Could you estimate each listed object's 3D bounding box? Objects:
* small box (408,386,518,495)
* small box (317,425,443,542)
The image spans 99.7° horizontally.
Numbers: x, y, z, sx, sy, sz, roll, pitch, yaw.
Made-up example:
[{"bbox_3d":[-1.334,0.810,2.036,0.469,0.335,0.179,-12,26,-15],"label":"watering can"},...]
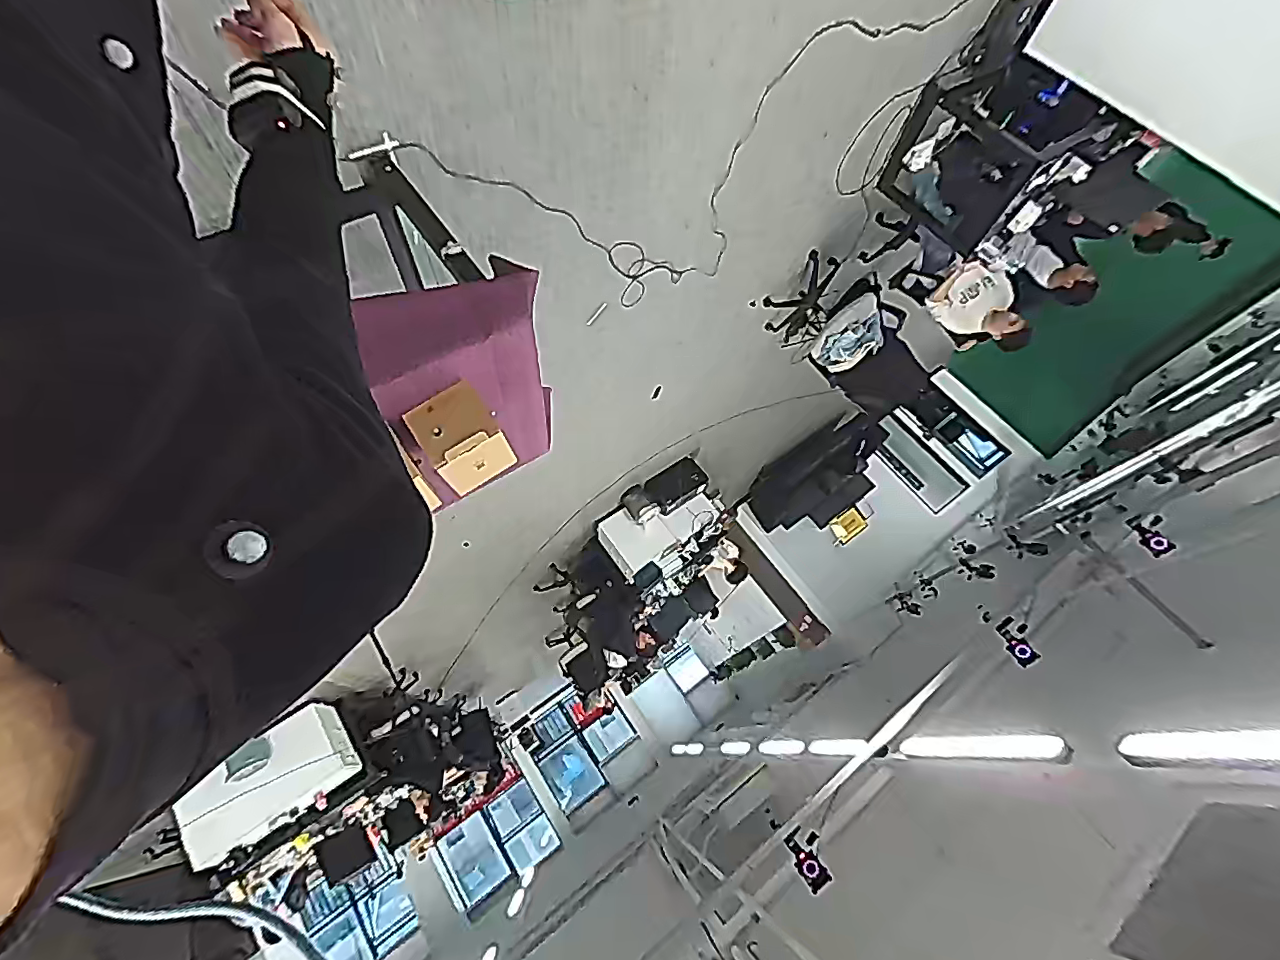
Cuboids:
[{"bbox_3d":[-0.419,-0.099,1.284,0.168,0.176,0.179,-33,162,-12],"label":"small box"},{"bbox_3d":[-0.583,0.006,1.220,0.179,0.176,0.168,-32,161,-15],"label":"small box"}]
